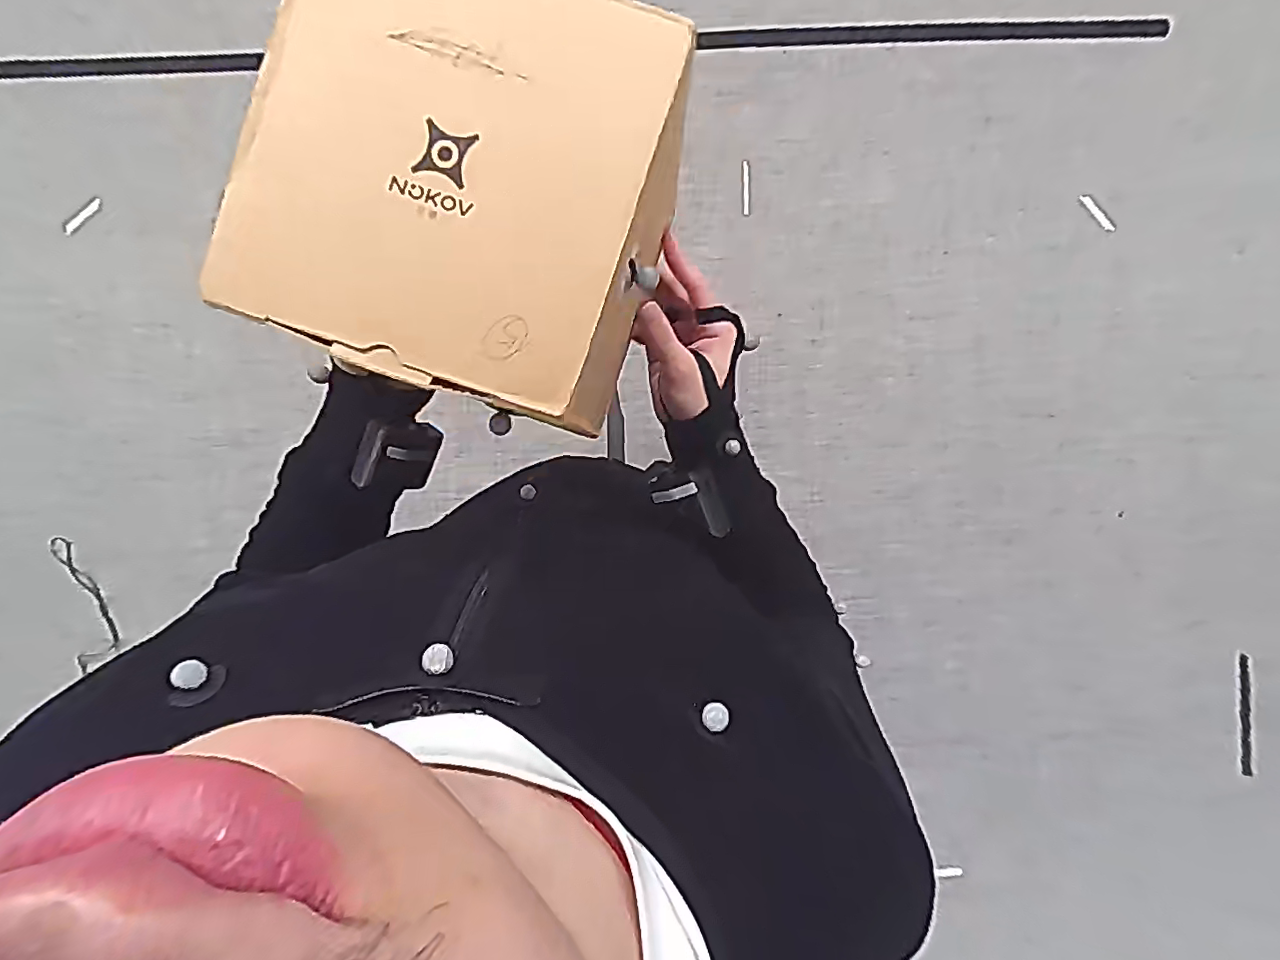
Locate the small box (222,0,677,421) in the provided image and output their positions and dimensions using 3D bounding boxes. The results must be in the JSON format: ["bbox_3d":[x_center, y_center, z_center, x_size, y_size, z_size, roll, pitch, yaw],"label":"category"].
[{"bbox_3d":[-0.084,-0.141,0.318,0.168,0.176,0.179,17,91,-1],"label":"small box"}]
